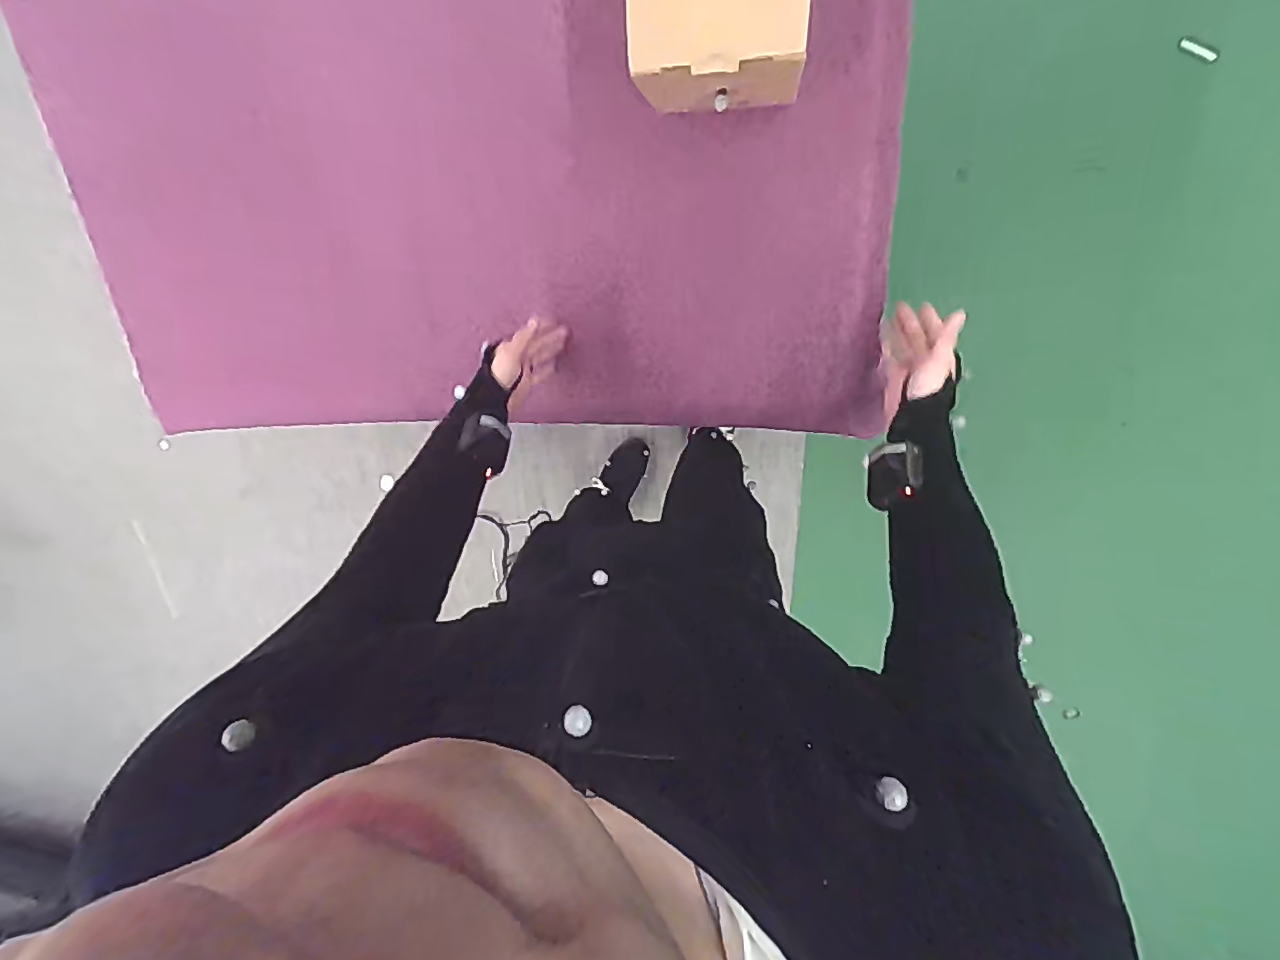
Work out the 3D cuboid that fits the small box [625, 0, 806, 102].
[{"bbox_3d":[0.082,-0.497,0.540,0.168,0.176,0.179,3,114,11],"label":"small box"}]
